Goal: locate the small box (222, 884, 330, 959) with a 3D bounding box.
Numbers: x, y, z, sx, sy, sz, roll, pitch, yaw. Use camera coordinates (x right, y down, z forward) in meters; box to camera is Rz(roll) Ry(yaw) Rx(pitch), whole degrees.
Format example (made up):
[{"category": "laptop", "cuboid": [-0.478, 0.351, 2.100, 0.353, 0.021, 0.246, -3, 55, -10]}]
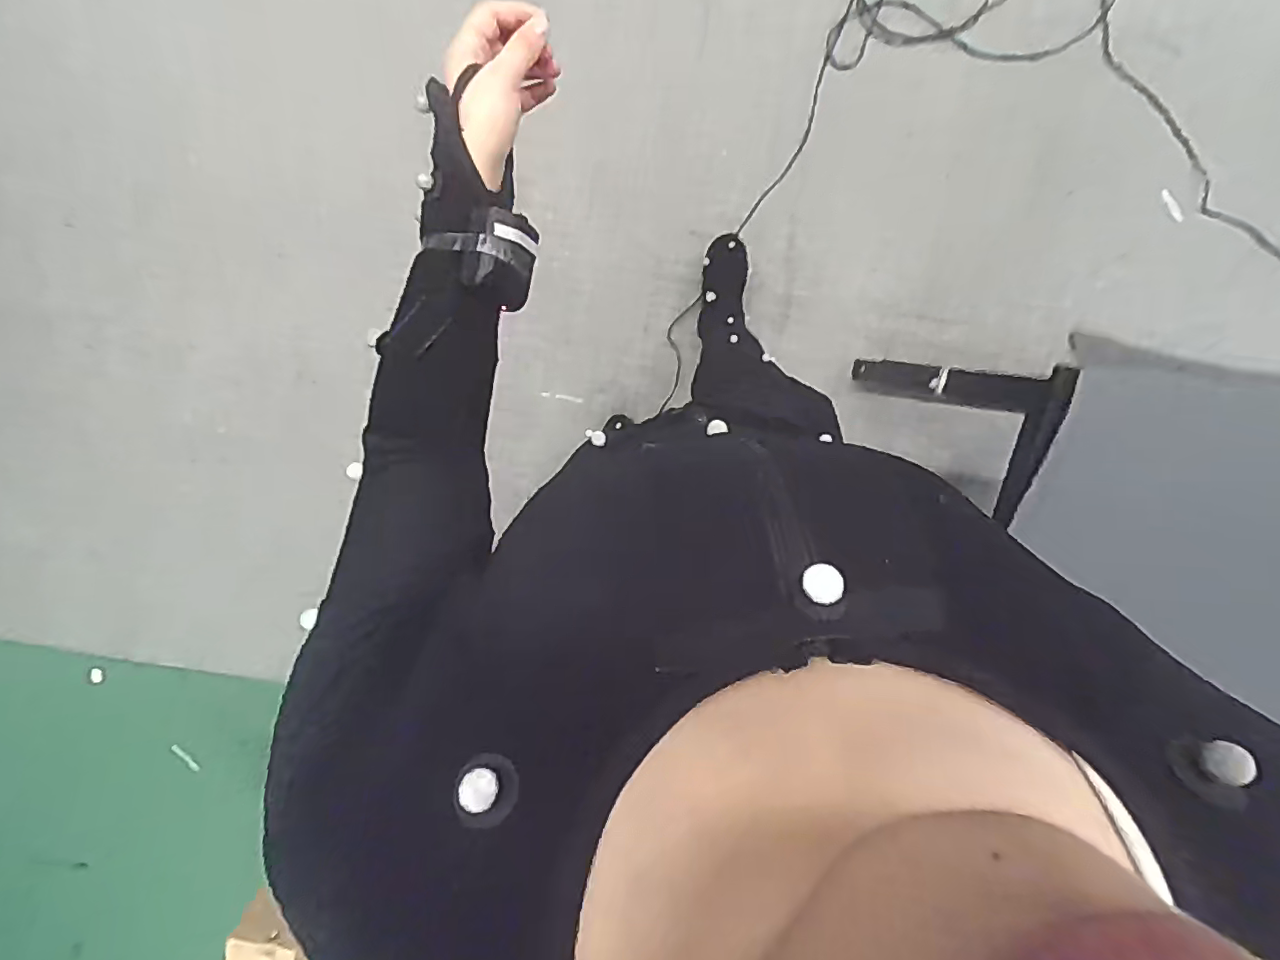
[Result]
[{"category": "small box", "cuboid": [-0.914, 1.180, 1.367, 0.168, 0.176, 0.179, 12, 105, -1]}]
